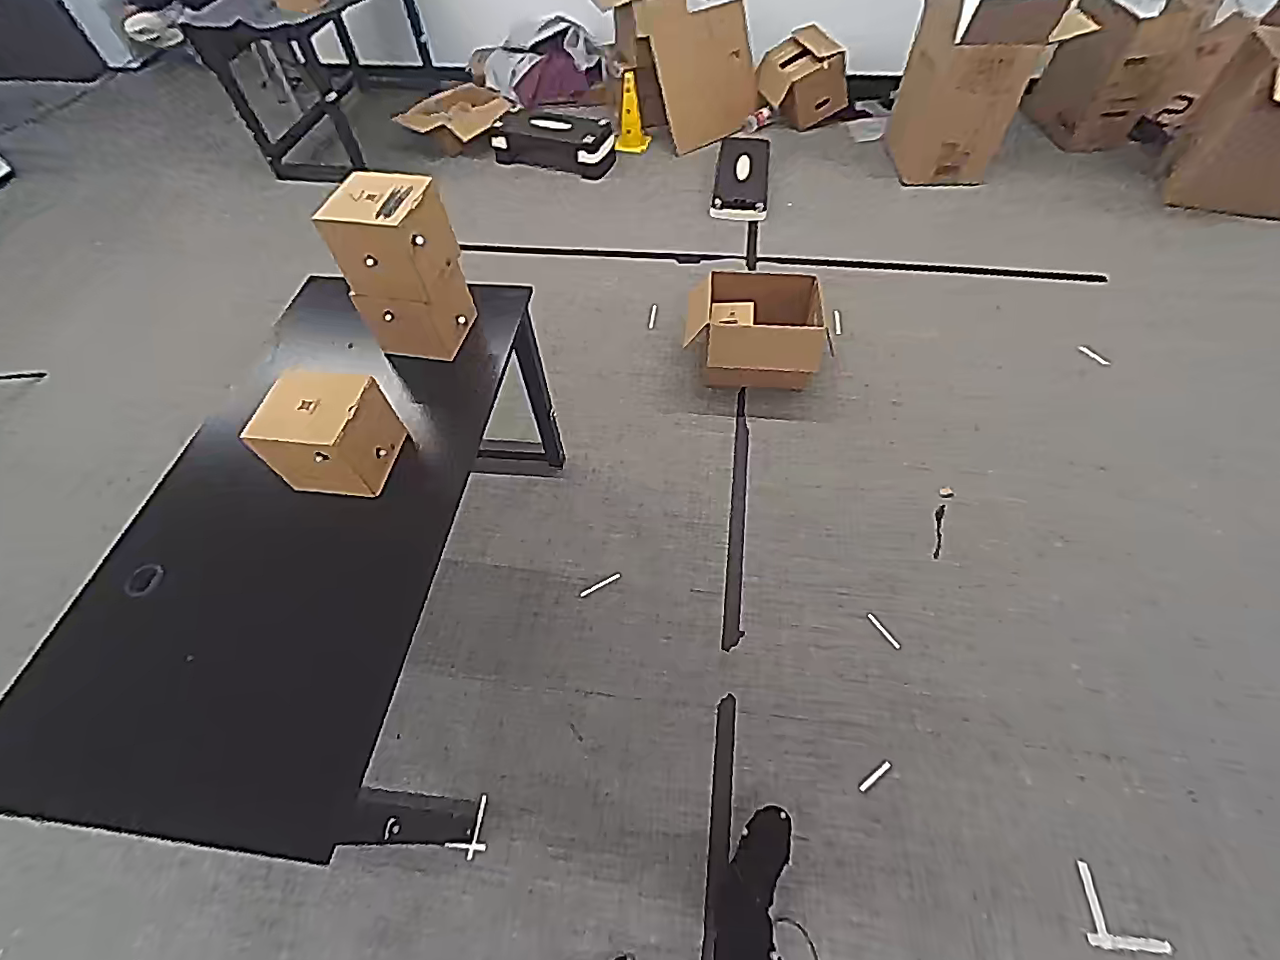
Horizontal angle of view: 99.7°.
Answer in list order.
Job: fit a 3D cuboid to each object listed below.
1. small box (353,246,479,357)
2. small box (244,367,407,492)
[{"bbox_3d":[-0.490,-0.397,1.211,0.179,0.176,0.168,9,59,8],"label":"small box"},{"bbox_3d":[-0.575,-0.091,1.017,0.179,0.176,0.168,5,57,5],"label":"small box"}]
